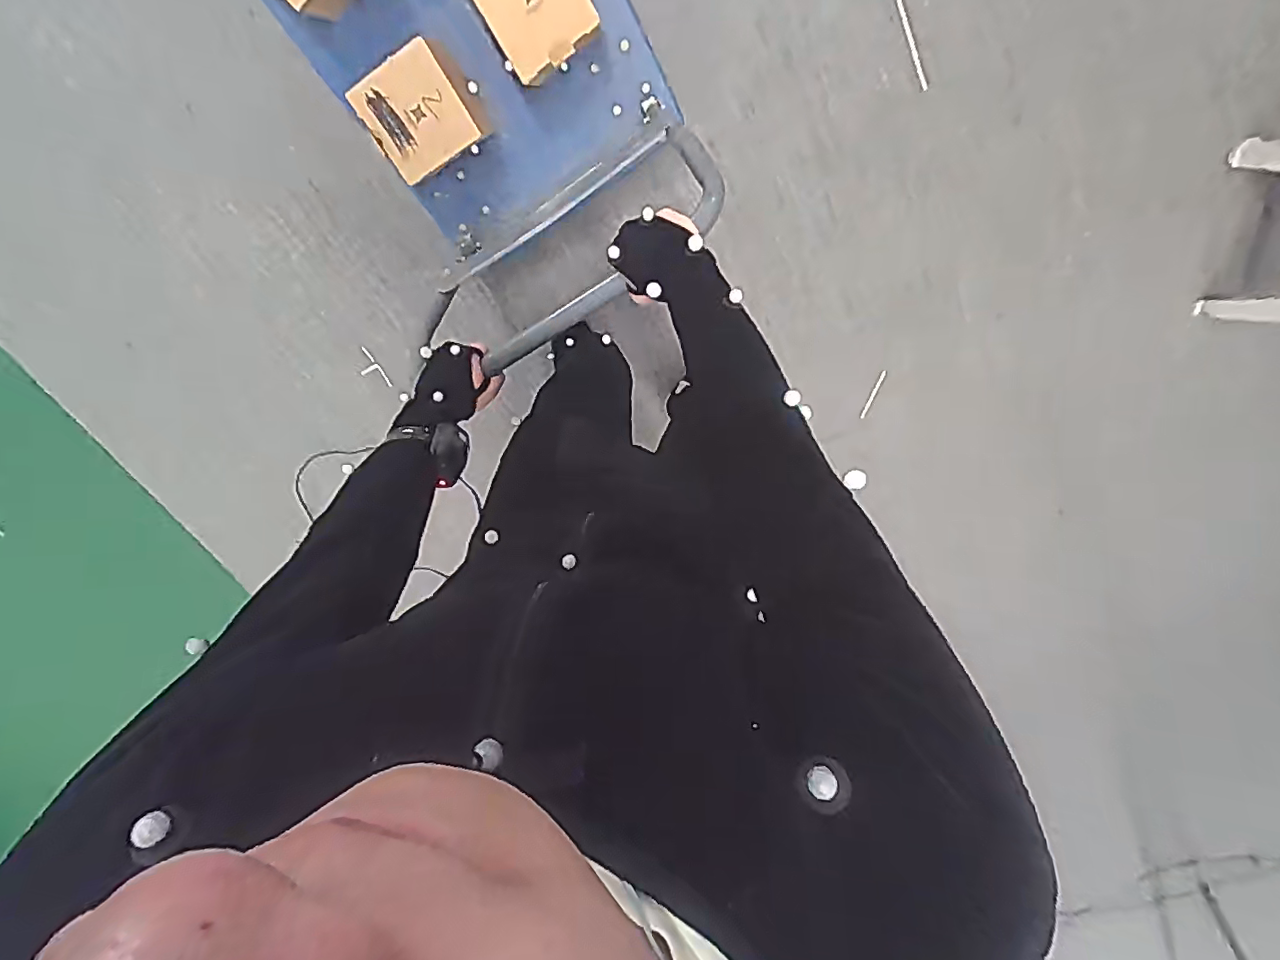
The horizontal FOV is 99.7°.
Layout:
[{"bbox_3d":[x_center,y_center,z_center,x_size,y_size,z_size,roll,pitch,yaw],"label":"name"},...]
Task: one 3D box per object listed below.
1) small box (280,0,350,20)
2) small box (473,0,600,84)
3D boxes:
[{"bbox_3d":[-0.553,-0.894,0.875,0.168,0.176,0.179,-34,121,19],"label":"small box"},{"bbox_3d":[-0.185,-0.832,0.945,0.168,0.176,0.179,-28,124,17],"label":"small box"}]
